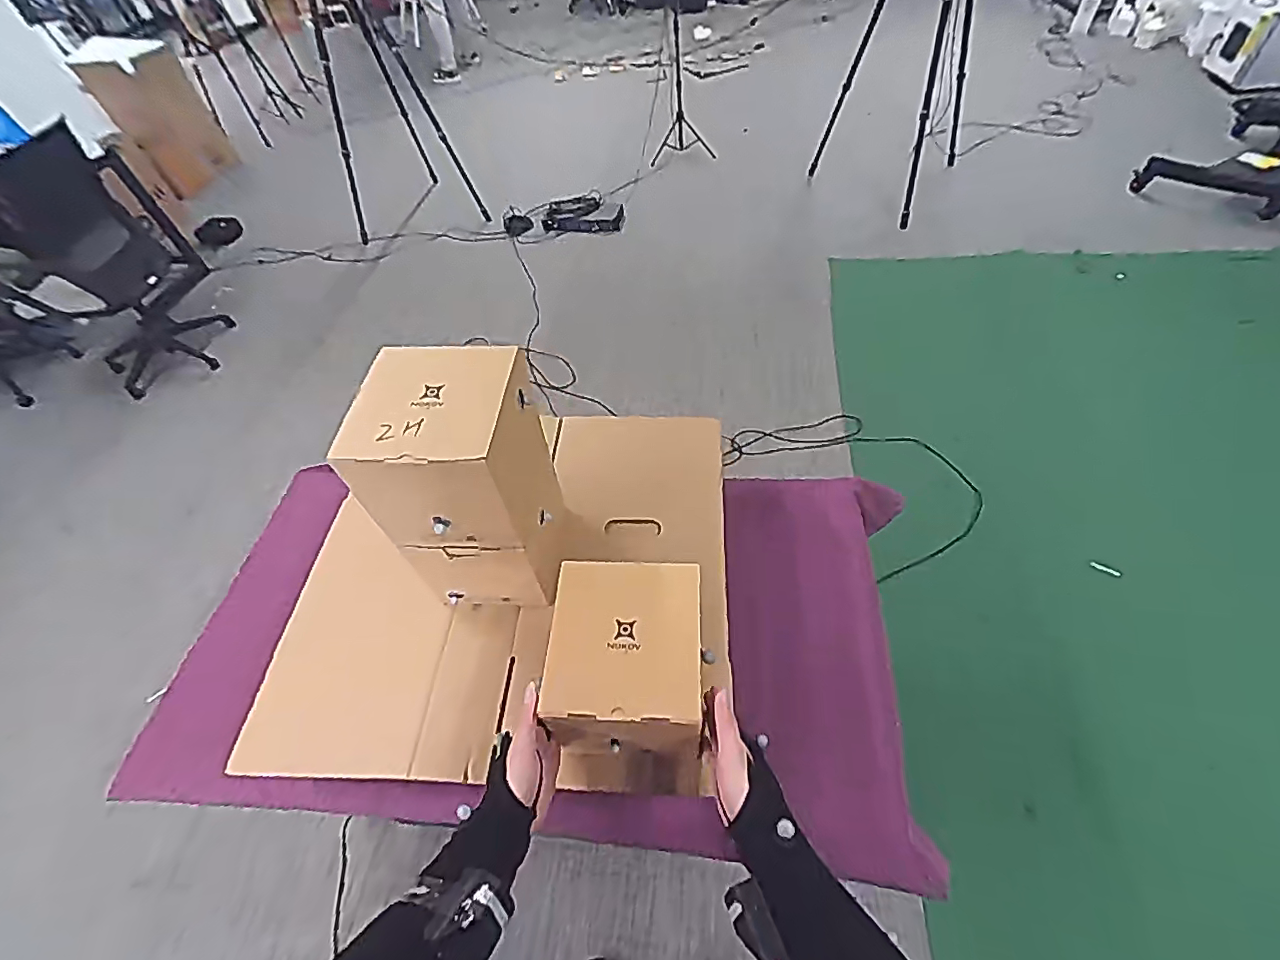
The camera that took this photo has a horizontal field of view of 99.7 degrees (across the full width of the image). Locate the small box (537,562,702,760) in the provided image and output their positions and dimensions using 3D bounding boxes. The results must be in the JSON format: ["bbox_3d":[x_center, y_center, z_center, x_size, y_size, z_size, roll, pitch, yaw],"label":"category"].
[{"bbox_3d":[-0.013,0.216,0.642,0.168,0.176,0.179,1,54,5],"label":"small box"}]

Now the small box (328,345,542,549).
[{"bbox_3d":[-0.220,-0.038,0.640,0.168,0.176,0.179,1,53,4],"label":"small box"}]

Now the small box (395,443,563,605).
[{"bbox_3d":[-0.211,0.065,0.768,0.168,0.176,0.179,1,52,4],"label":"small box"}]
